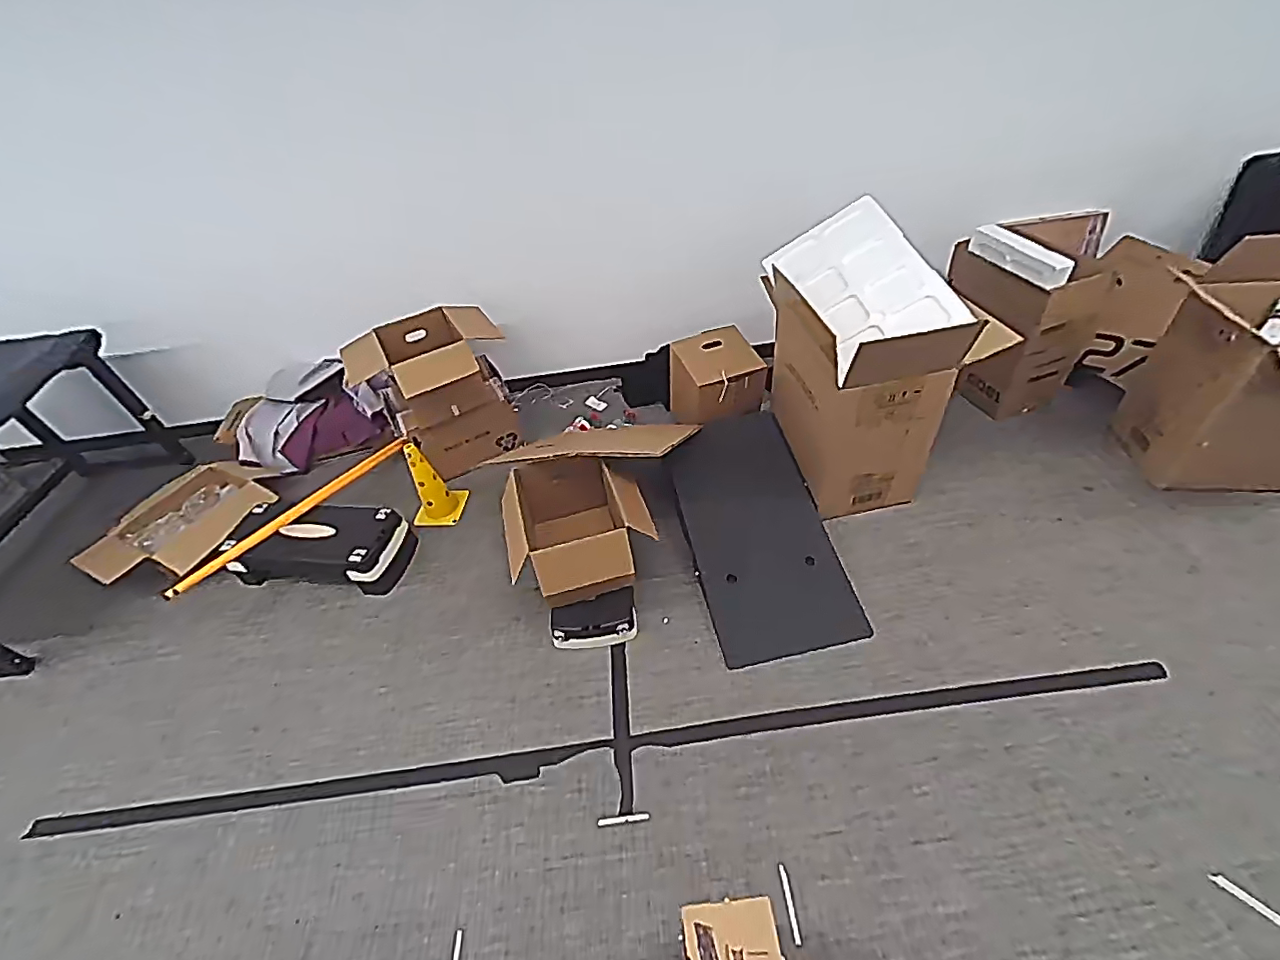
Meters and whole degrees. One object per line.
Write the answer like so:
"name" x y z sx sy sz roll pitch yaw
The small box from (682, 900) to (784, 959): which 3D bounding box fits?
"small box" 0.179 0.925 1.029 0.179 0.176 0.168 -7 44 0
